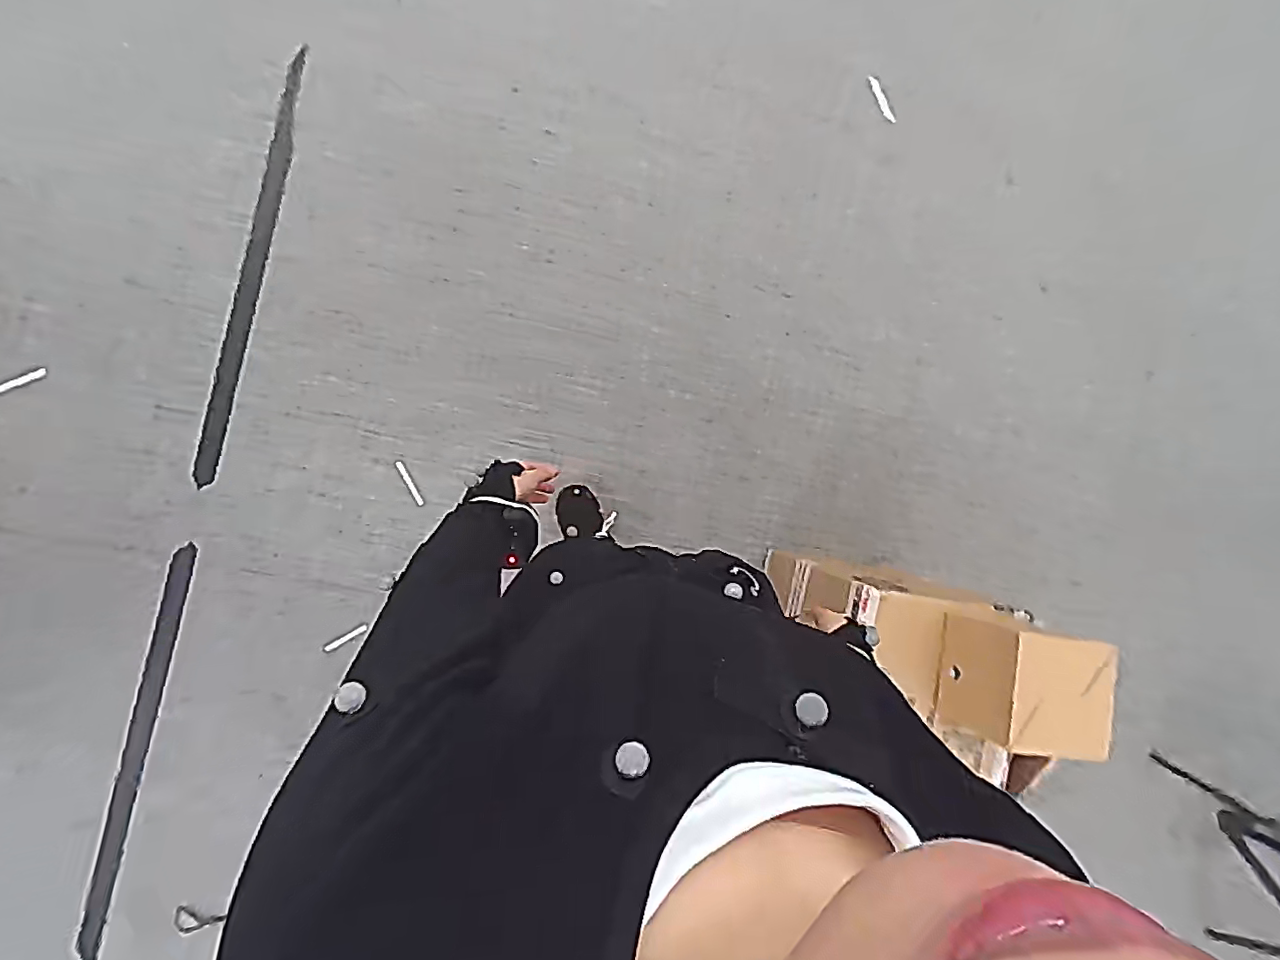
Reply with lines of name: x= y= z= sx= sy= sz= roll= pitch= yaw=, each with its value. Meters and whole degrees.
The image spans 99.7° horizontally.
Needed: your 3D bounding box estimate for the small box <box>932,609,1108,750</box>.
small box: x=0.617 y=0.324 z=0.890 sx=0.168 sy=0.176 sz=0.179 roll=9 pitch=87 yaw=-6
